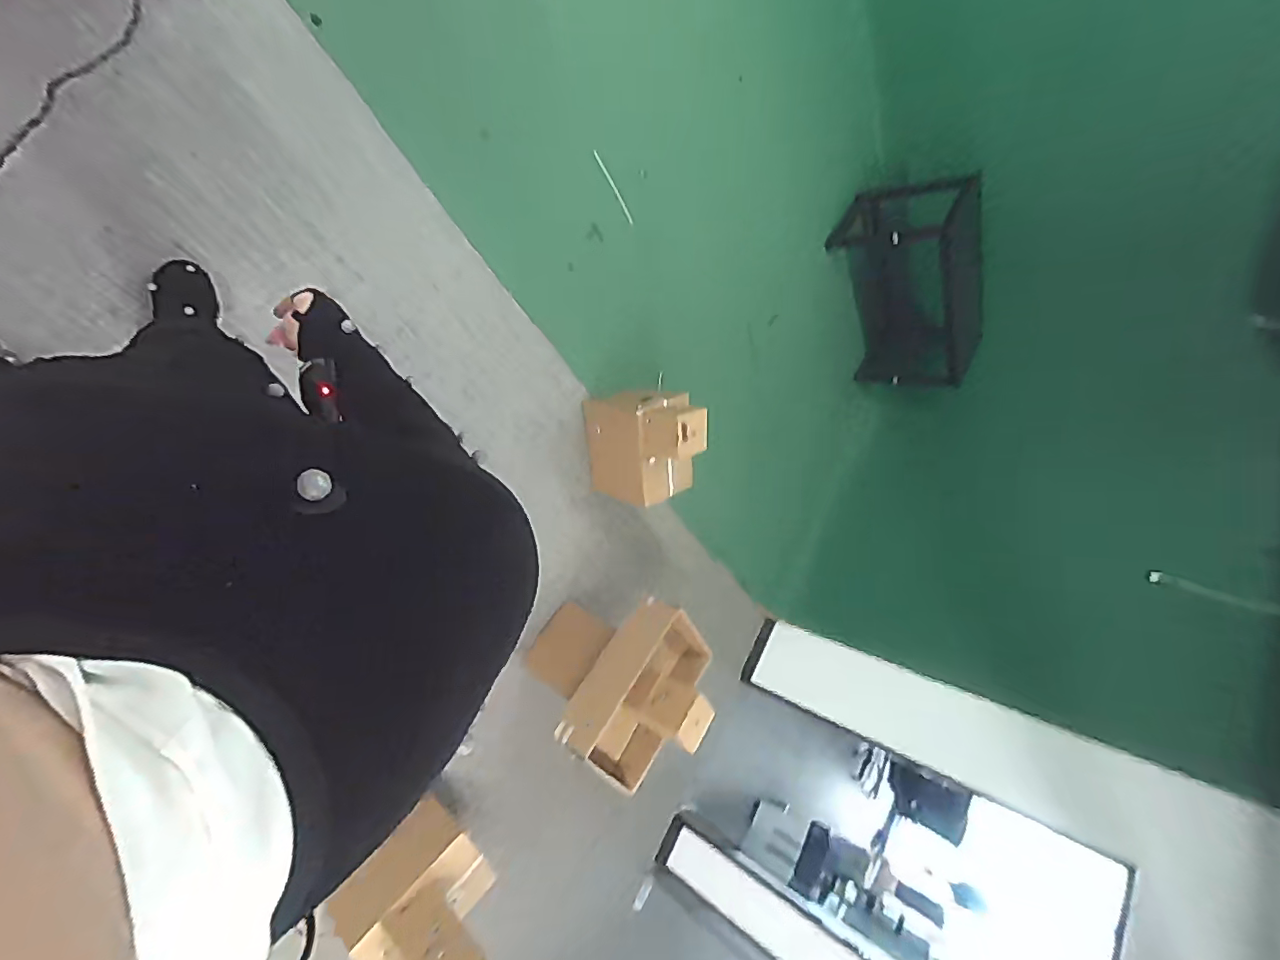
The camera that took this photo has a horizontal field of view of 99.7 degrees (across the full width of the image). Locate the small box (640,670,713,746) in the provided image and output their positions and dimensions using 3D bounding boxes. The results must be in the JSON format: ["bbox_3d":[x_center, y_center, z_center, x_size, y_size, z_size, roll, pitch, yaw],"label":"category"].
[{"bbox_3d":[0.131,0.811,1.937,0.168,0.176,0.179,-53,134,-26],"label":"small box"}]

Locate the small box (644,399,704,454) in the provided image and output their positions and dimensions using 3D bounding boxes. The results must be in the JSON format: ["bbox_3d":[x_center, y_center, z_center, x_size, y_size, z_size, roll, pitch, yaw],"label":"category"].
[{"bbox_3d":[0.125,-0.205,2.042,0.179,0.176,0.168,-22,118,-44],"label":"small box"}]

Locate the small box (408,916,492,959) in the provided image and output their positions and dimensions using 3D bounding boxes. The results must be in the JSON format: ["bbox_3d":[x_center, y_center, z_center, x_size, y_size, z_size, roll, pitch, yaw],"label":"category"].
[{"bbox_3d":[-0.524,1.384,1.505,0.168,0.176,0.179,-17,112,-46],"label":"small box"}]

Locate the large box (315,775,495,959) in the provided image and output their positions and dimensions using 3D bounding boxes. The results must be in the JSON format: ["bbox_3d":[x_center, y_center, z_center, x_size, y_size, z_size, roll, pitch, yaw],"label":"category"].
[{"bbox_3d":[-0.782,1.322,1.828,0.408,0.320,0.320,-40,129,-36],"label":"large box"}]

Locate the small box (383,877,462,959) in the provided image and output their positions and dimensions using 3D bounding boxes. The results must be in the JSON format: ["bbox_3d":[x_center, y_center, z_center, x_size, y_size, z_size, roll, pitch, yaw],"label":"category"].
[{"bbox_3d":[-0.644,1.353,1.615,0.168,0.176,0.179,-16,113,-46],"label":"small box"}]
